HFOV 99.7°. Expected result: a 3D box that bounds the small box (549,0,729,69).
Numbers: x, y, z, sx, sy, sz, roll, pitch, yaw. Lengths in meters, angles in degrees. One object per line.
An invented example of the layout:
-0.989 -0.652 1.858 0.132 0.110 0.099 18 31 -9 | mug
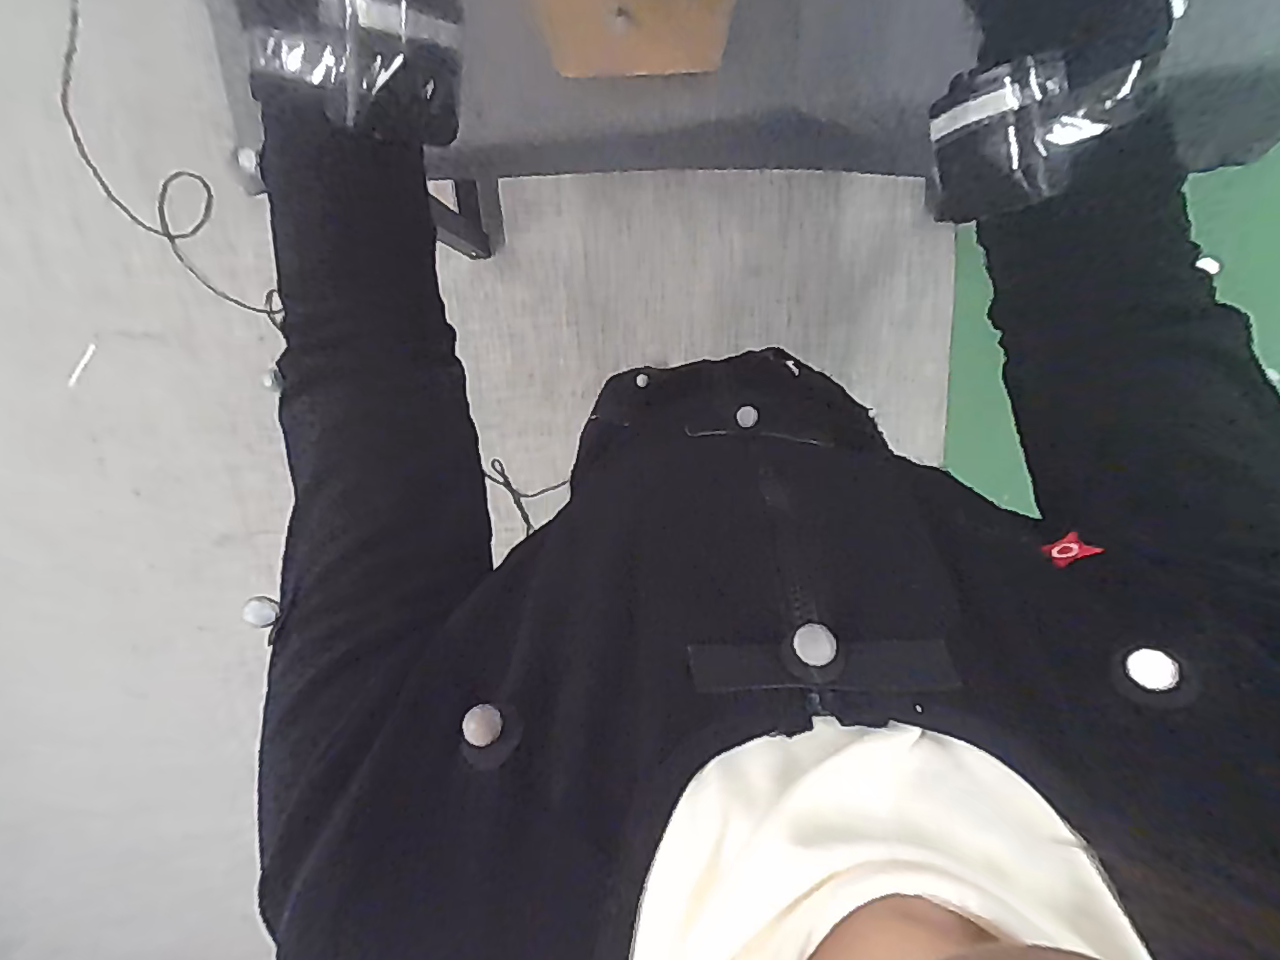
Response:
-0.002 -0.518 0.502 0.179 0.176 0.168 -1 101 2 | small box
